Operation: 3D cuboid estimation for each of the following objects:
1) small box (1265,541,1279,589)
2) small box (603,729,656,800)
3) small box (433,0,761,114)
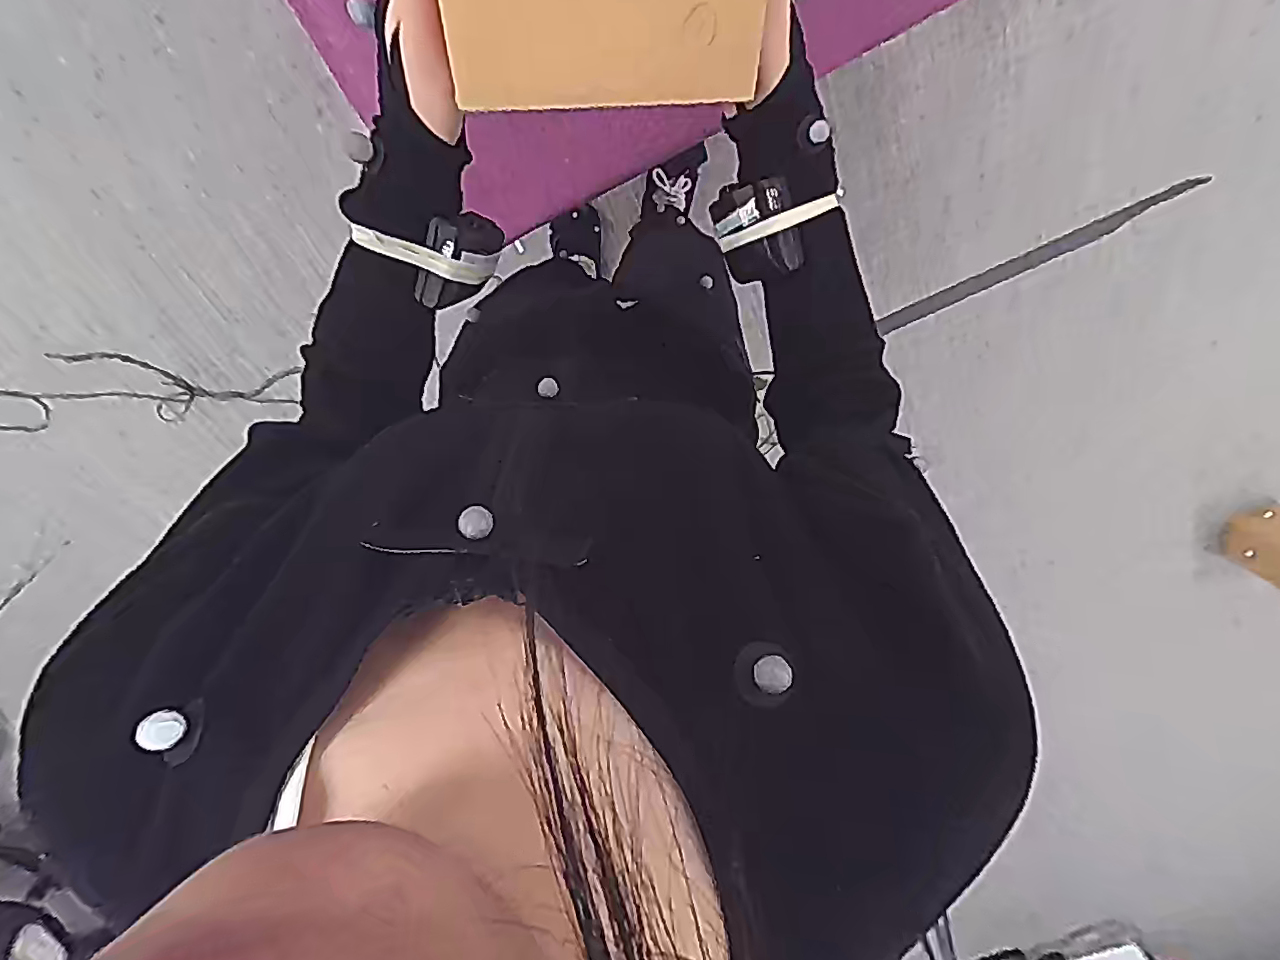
[{"bbox_3d":[2.172,0.288,1.721,0.168,0.176,0.179,-22,117,5],"label":"small box"},{"bbox_3d":[-0.044,1.122,2.134,0.168,0.176,0.179,15,116,-12],"label":"small box"},{"bbox_3d":[-0.031,-0.322,0.293,0.168,0.176,0.179,-7,135,-8],"label":"small box"}]
